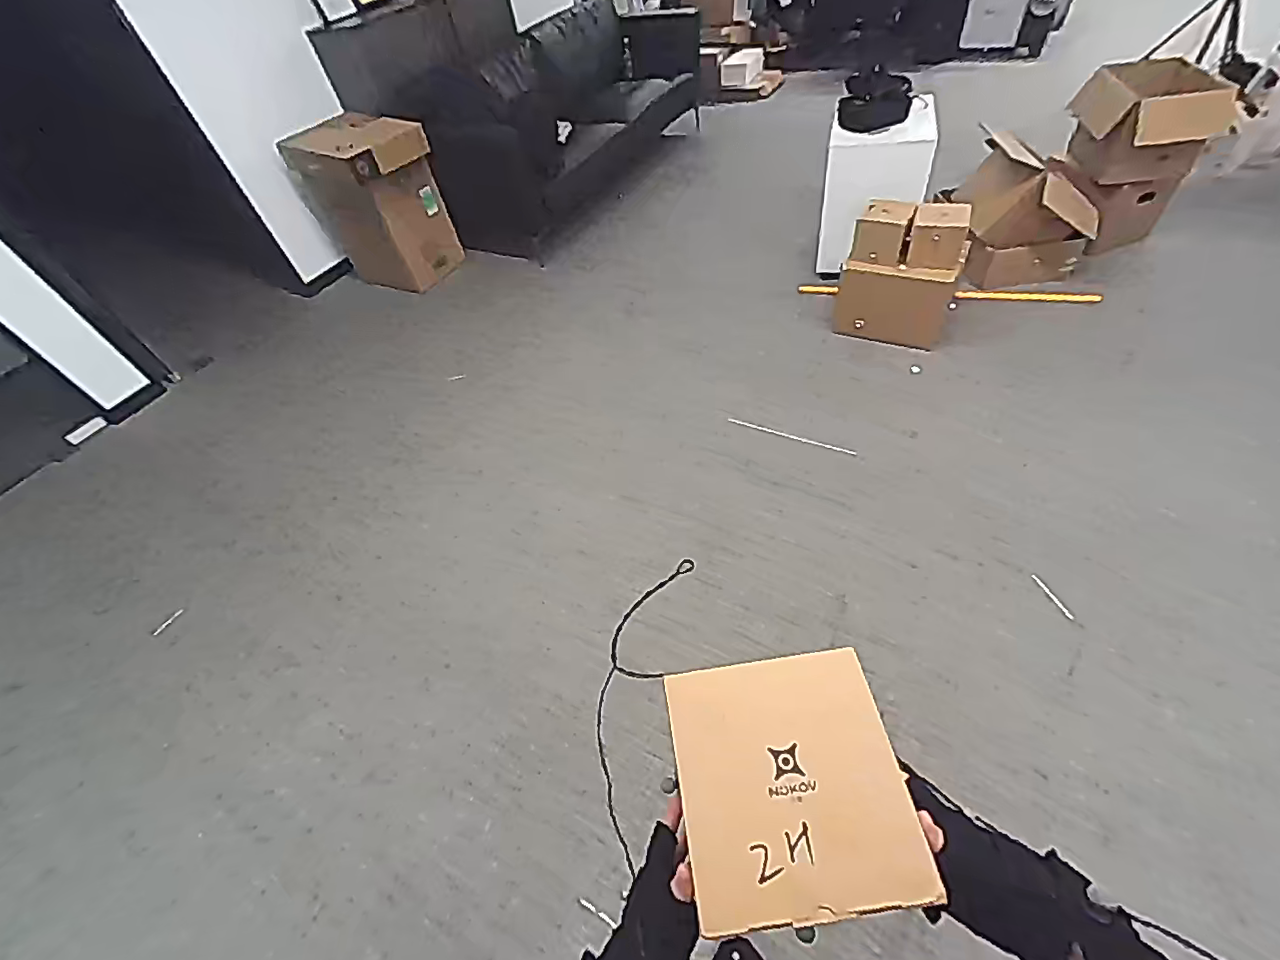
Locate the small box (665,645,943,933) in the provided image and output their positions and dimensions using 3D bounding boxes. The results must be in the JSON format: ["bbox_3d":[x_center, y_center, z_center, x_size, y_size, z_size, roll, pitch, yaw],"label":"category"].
[{"bbox_3d":[0.115,0.265,0.465,0.168,0.176,0.179,-9,53,1],"label":"small box"}]
